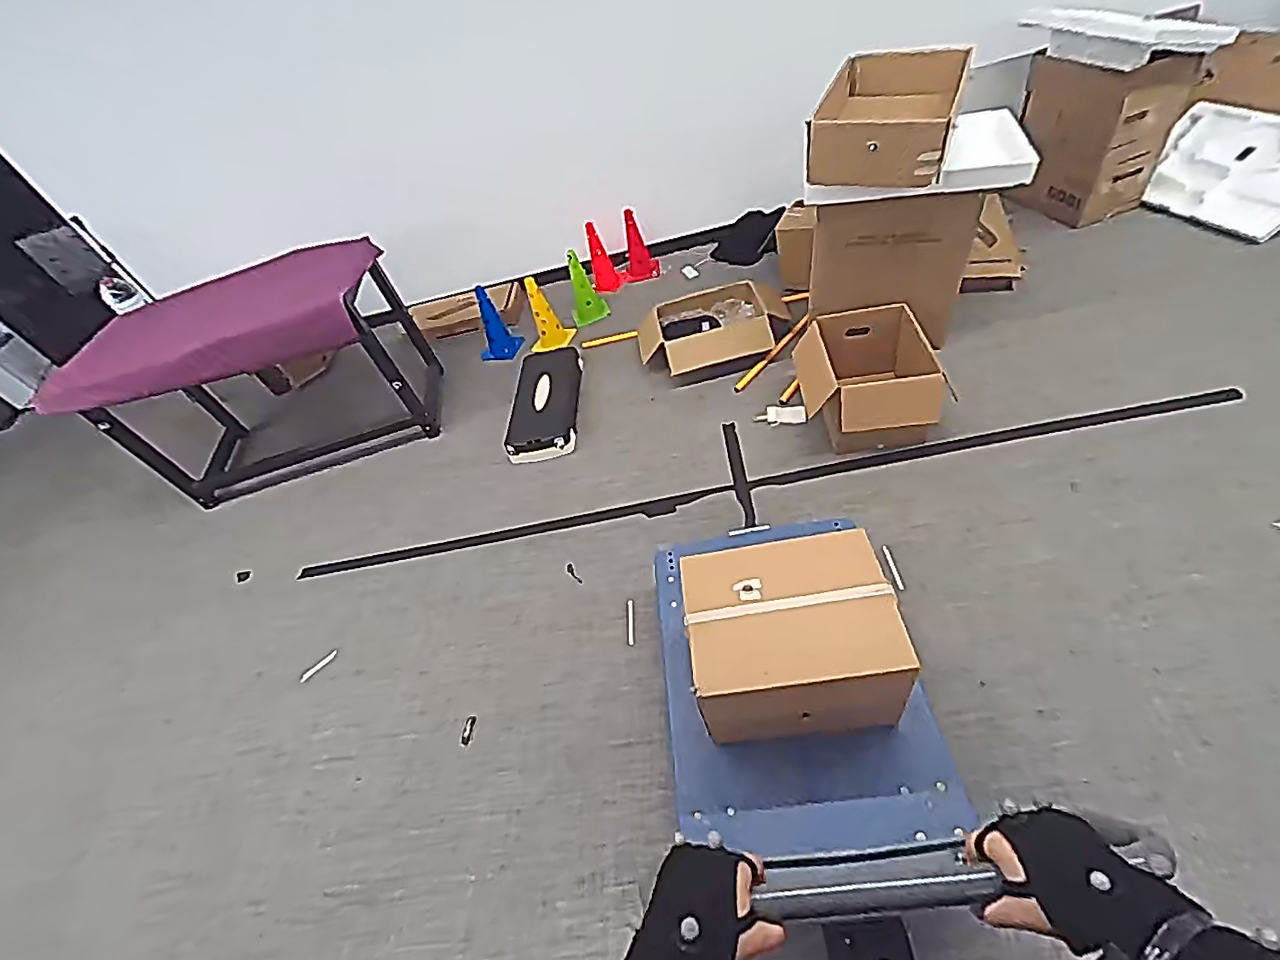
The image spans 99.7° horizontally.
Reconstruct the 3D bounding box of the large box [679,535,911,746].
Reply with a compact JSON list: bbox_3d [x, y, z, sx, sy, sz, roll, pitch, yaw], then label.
[{"bbox_3d":[0.326,0.367,1.207,0.408,0.320,0.320,-12,46,8],"label":"large box"}]
